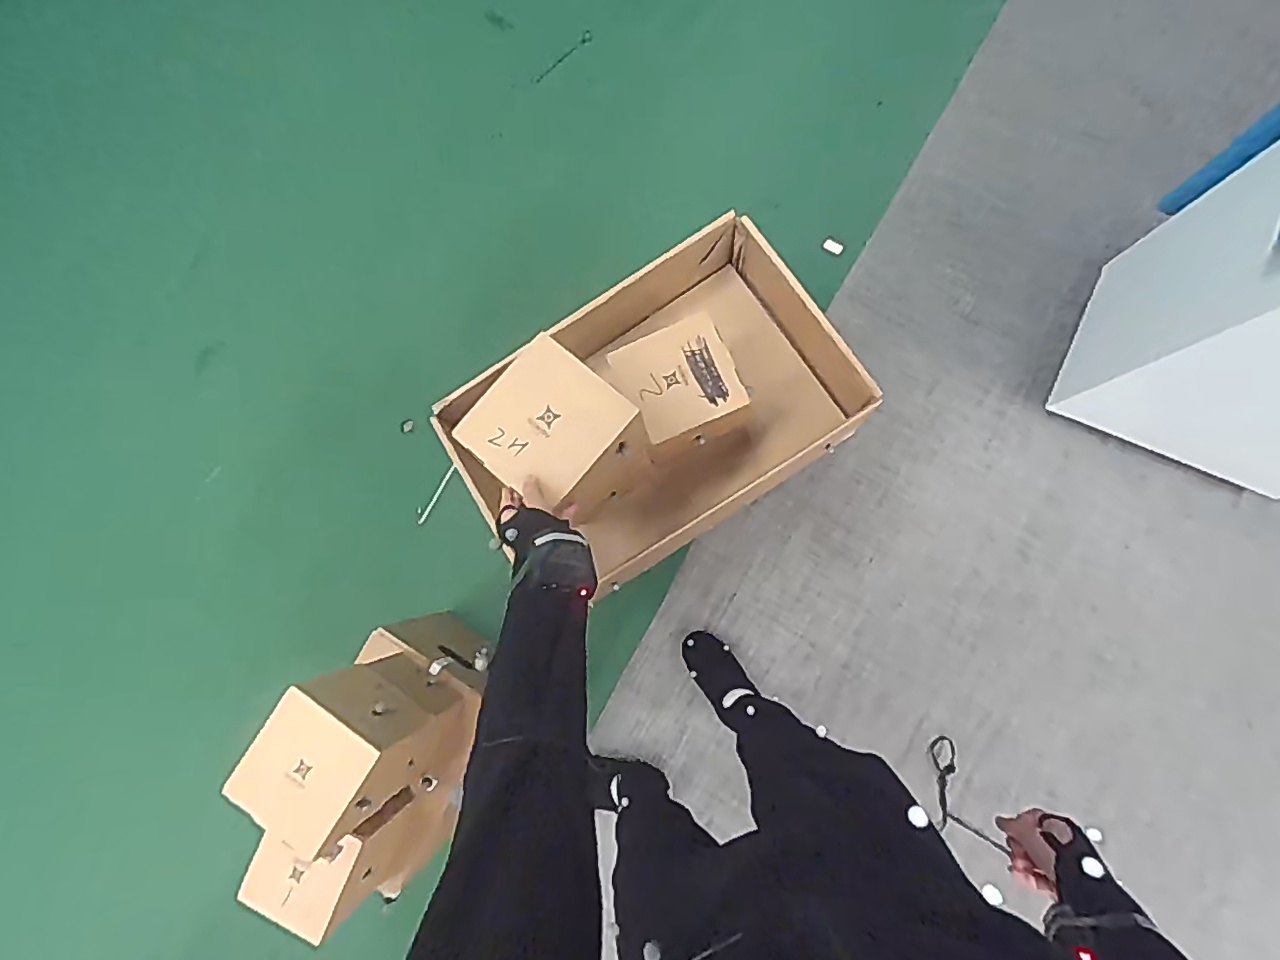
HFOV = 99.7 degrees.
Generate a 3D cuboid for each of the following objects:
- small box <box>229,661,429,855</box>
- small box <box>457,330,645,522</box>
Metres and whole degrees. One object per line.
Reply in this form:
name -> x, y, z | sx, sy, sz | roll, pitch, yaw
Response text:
small box -> -0.453, 0.403, 0.824 | 0.168, 0.176, 0.179 | 32, 87, 8
small box -> -0.106, -0.062, 0.739 | 0.168, 0.176, 0.179 | 41, 87, 11
